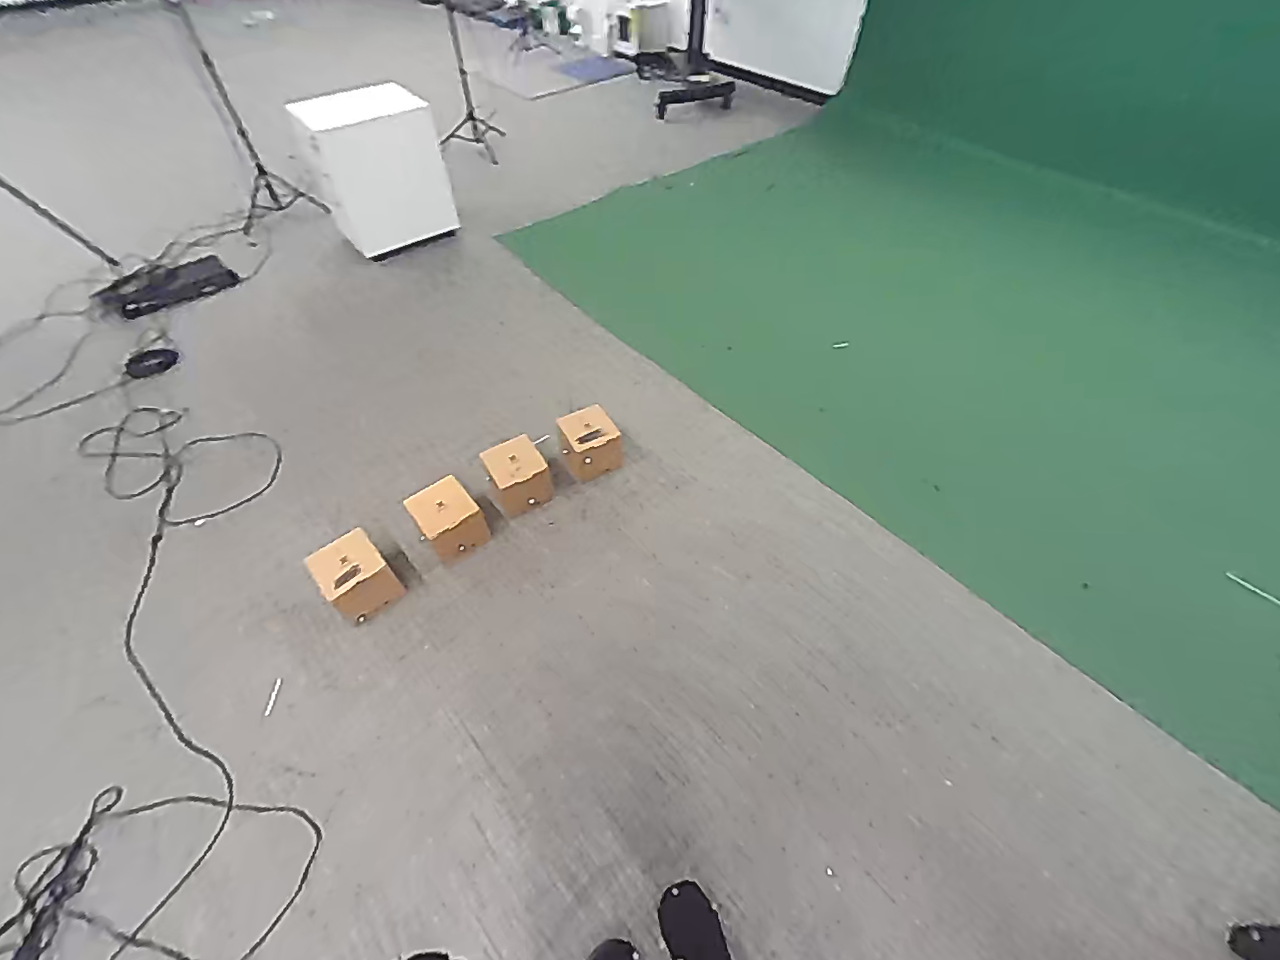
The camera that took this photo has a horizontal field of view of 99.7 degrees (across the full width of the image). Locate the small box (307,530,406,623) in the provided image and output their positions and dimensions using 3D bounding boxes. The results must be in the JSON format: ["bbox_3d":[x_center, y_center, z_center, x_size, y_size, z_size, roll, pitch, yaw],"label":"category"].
[{"bbox_3d":[-0.799,0.282,1.541,0.168,0.176,0.179,-34,58,-25],"label":"small box"}]

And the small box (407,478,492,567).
[{"bbox_3d":[-0.582,0.134,1.665,0.168,0.176,0.179,-34,59,-25],"label":"small box"}]

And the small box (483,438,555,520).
[{"bbox_3d":[-0.394,-0.001,1.776,0.168,0.176,0.179,-27,57,-20],"label":"small box"}]
